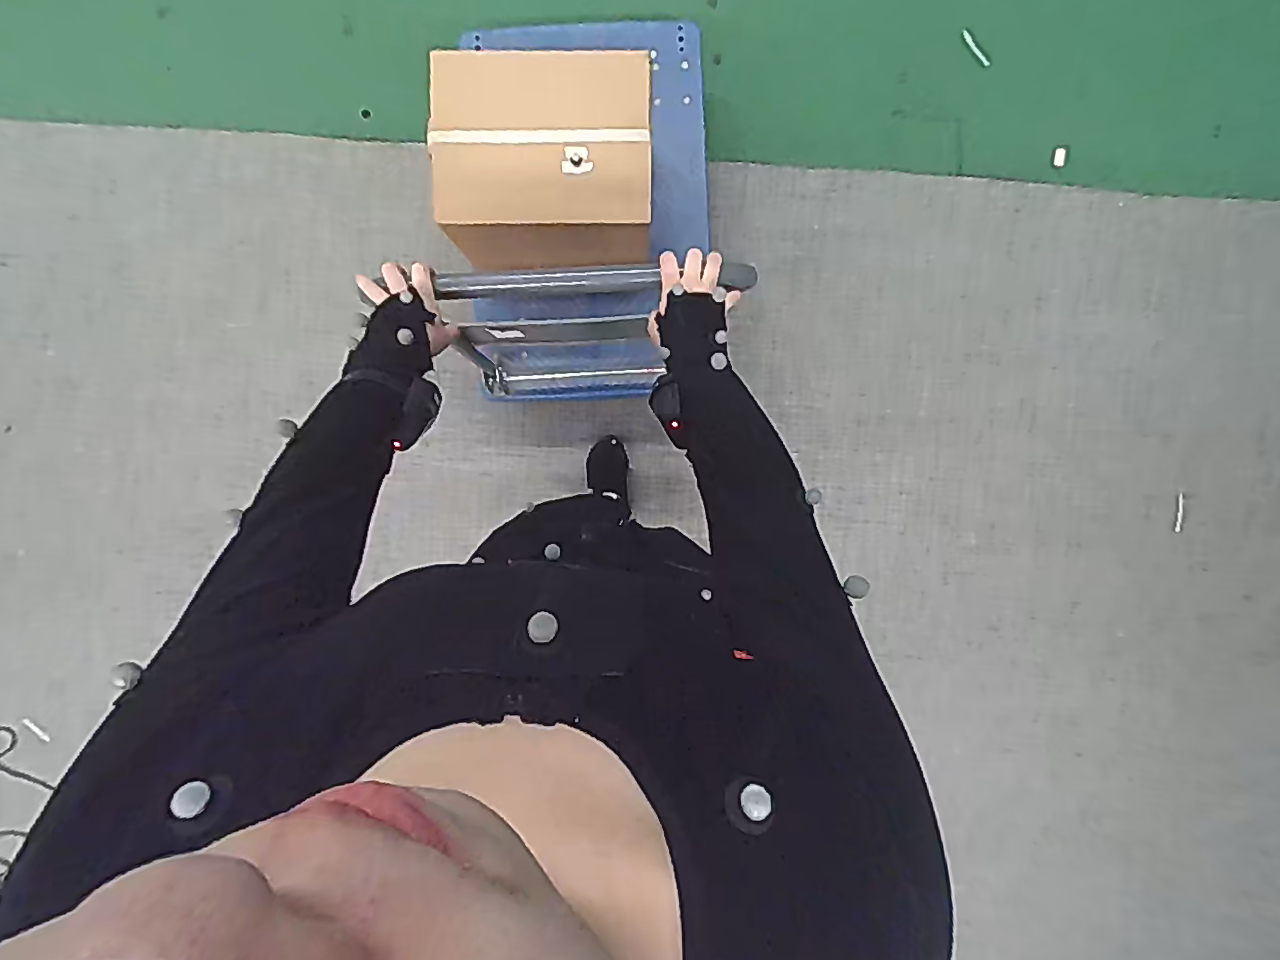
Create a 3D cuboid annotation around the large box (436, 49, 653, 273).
[{"bbox_3d":[-0.183,-0.653,1.159,0.408,0.320,0.320,-1,93,-1],"label":"large box"}]
